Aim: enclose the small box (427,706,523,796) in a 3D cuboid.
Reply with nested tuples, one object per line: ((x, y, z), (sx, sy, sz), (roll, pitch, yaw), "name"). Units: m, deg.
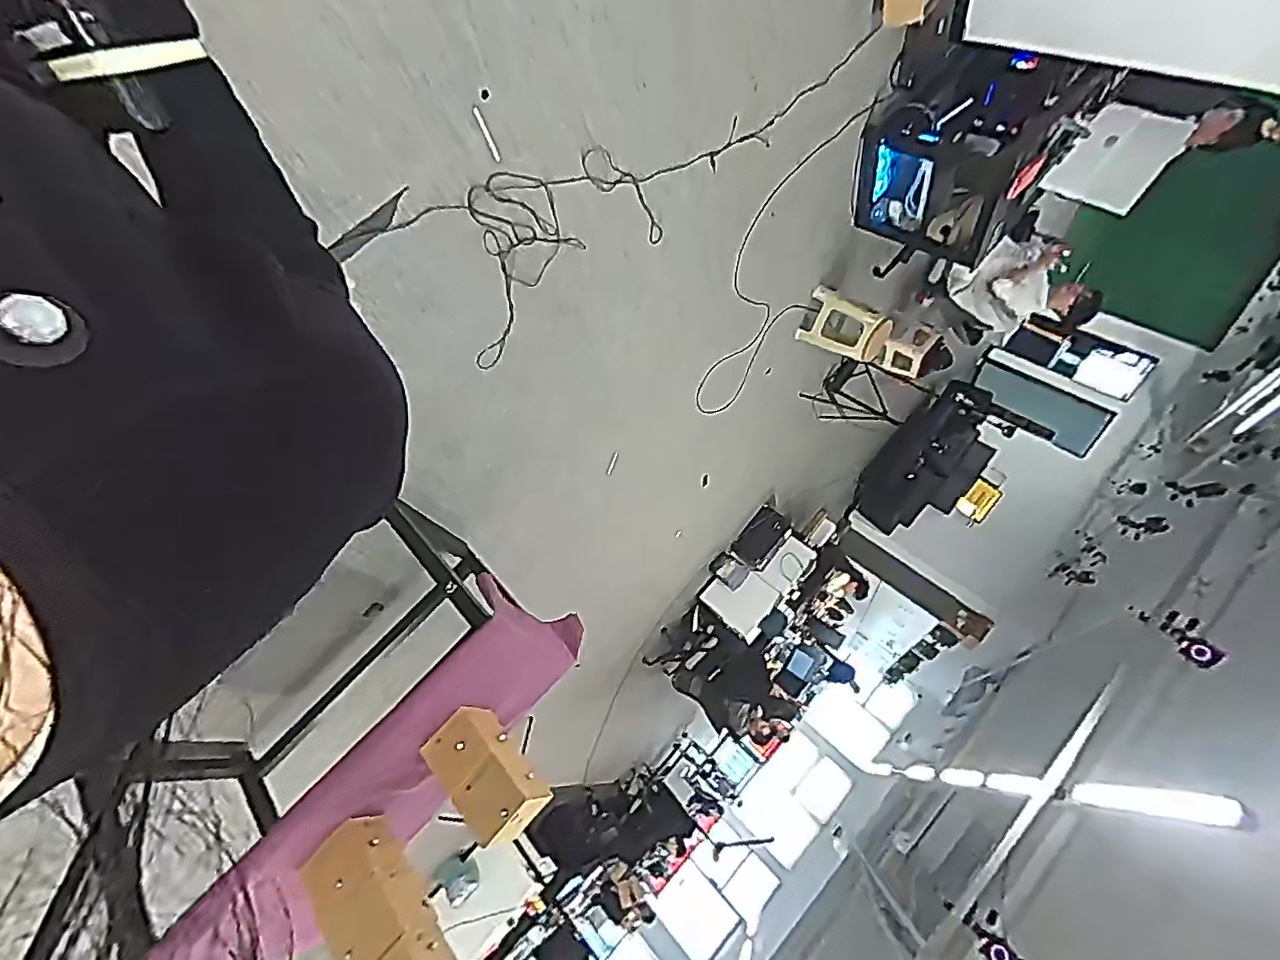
((-0.485, 0.789, 1.584), (0.168, 0.176, 0.179), (-47, 151, -10), "small box")

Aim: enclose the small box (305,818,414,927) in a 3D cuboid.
((-0.769, 1.058, 1.481), (0.179, 0.176, 0.168), (-44, 150, -12), "small box")

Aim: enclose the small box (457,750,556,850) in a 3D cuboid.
((-0.371, 0.882, 1.512), (0.168, 0.176, 0.179), (-48, 152, -8), "small box")

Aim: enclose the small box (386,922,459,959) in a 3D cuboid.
((-0.549, 1.241, 1.317), (0.179, 0.176, 0.168), (-46, 151, -12), "small box")
